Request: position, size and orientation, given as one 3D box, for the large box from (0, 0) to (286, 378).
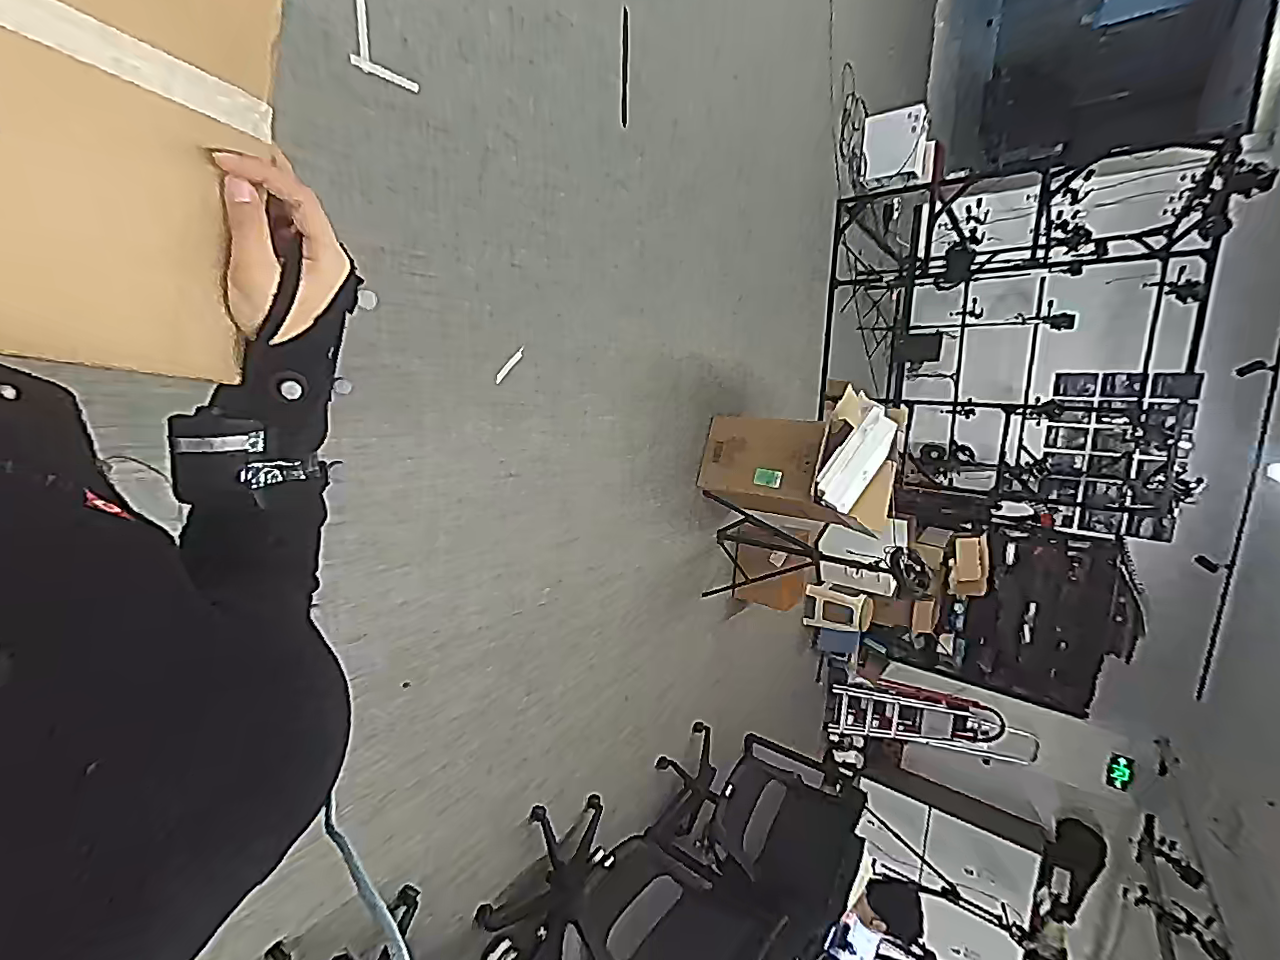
[{"bbox_3d":[-0.465,-0.248,0.268,0.408,0.320,0.320,1,104,-53],"label":"large box"}]
